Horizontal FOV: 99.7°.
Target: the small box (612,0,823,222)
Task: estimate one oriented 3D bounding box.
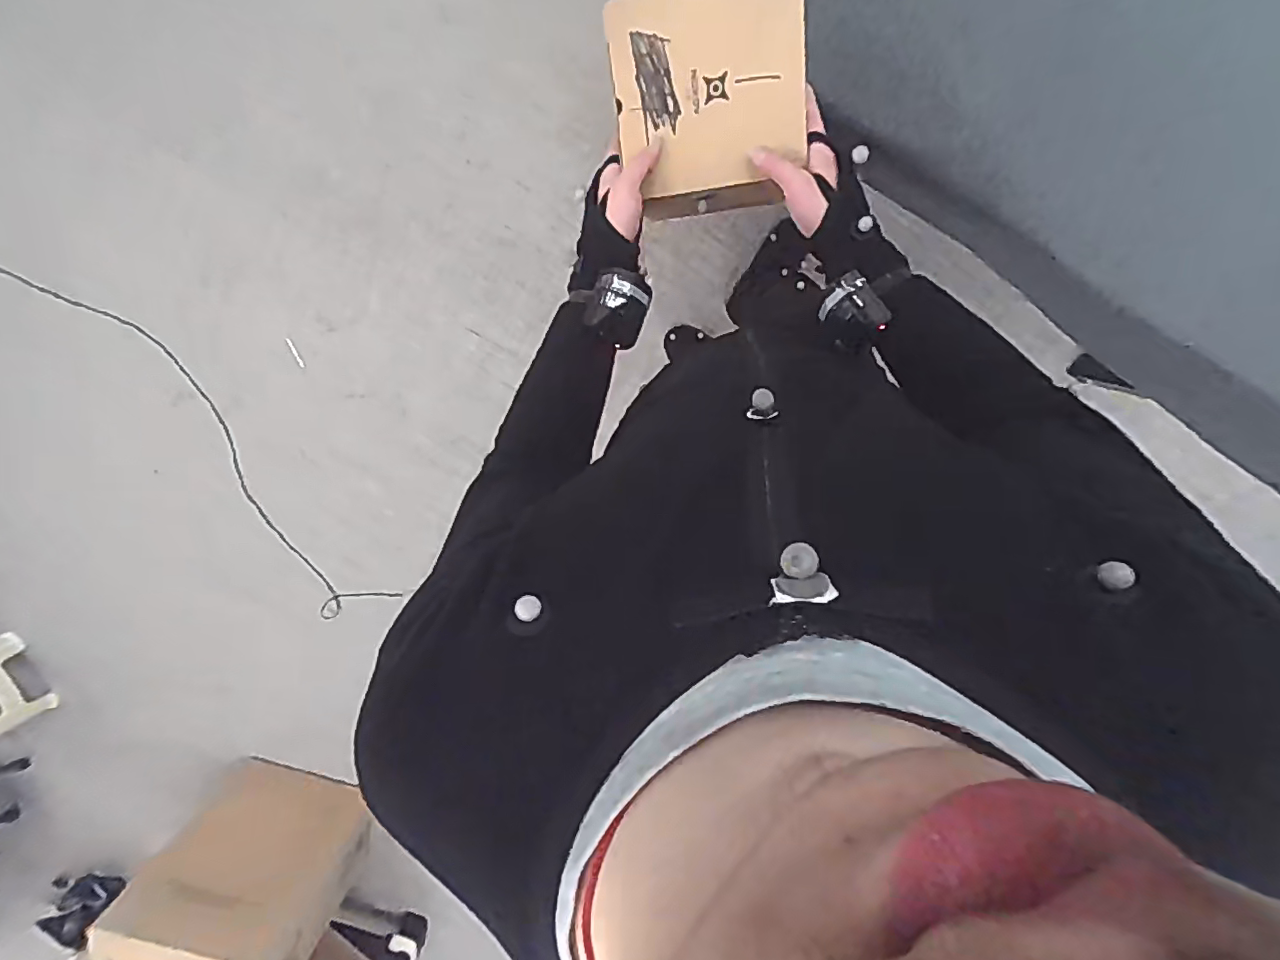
[{"bbox_3d":[0.078,-0.371,0.547,0.179,0.176,0.168,-5,108,7],"label":"small box"}]
